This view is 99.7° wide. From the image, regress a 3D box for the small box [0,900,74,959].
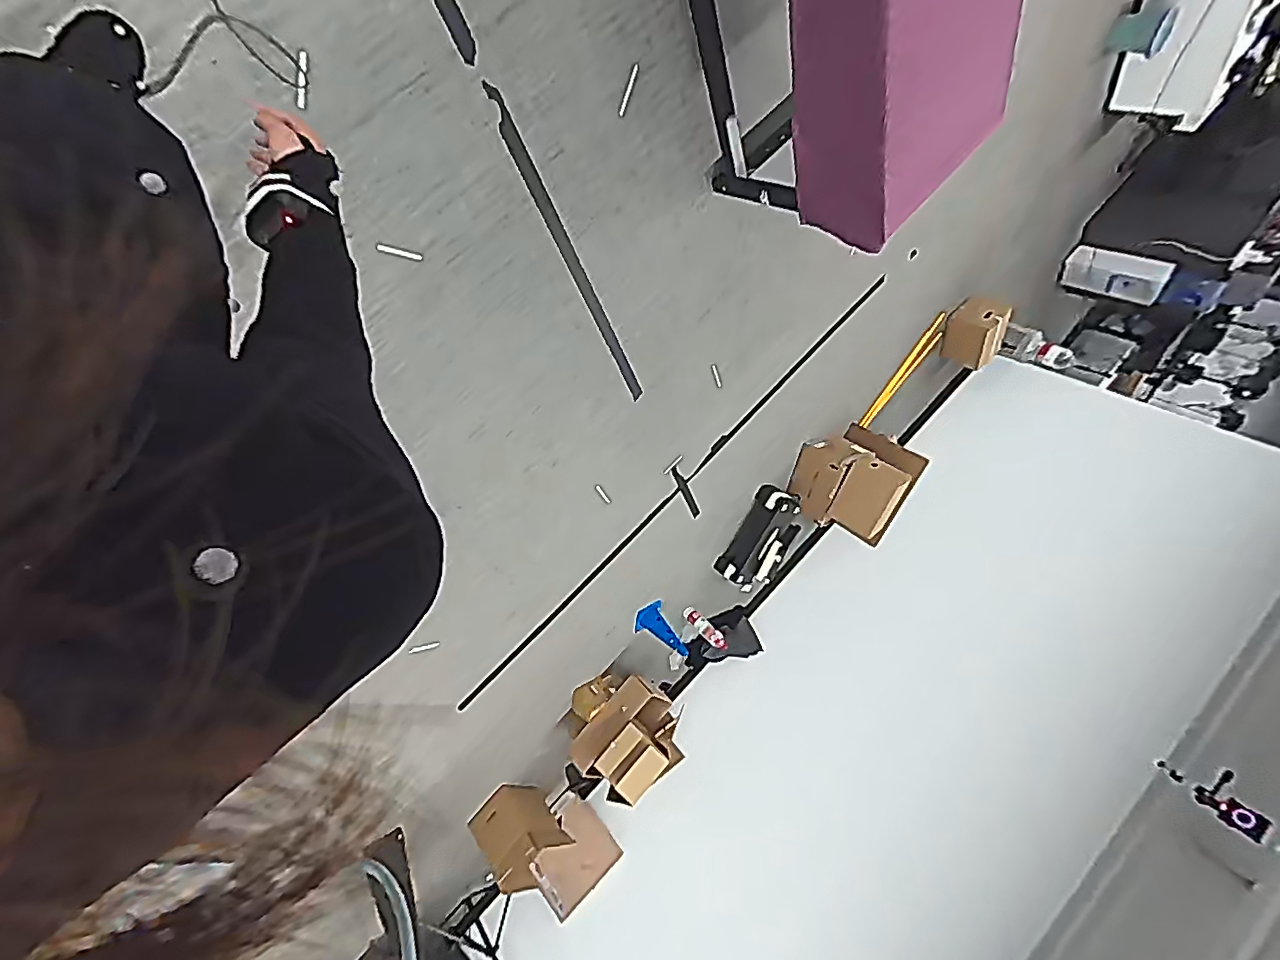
[{"bbox_3d":[-1.042,0.805,0.843,0.179,0.176,0.168,-42,143,-13],"label":"small box"}]
